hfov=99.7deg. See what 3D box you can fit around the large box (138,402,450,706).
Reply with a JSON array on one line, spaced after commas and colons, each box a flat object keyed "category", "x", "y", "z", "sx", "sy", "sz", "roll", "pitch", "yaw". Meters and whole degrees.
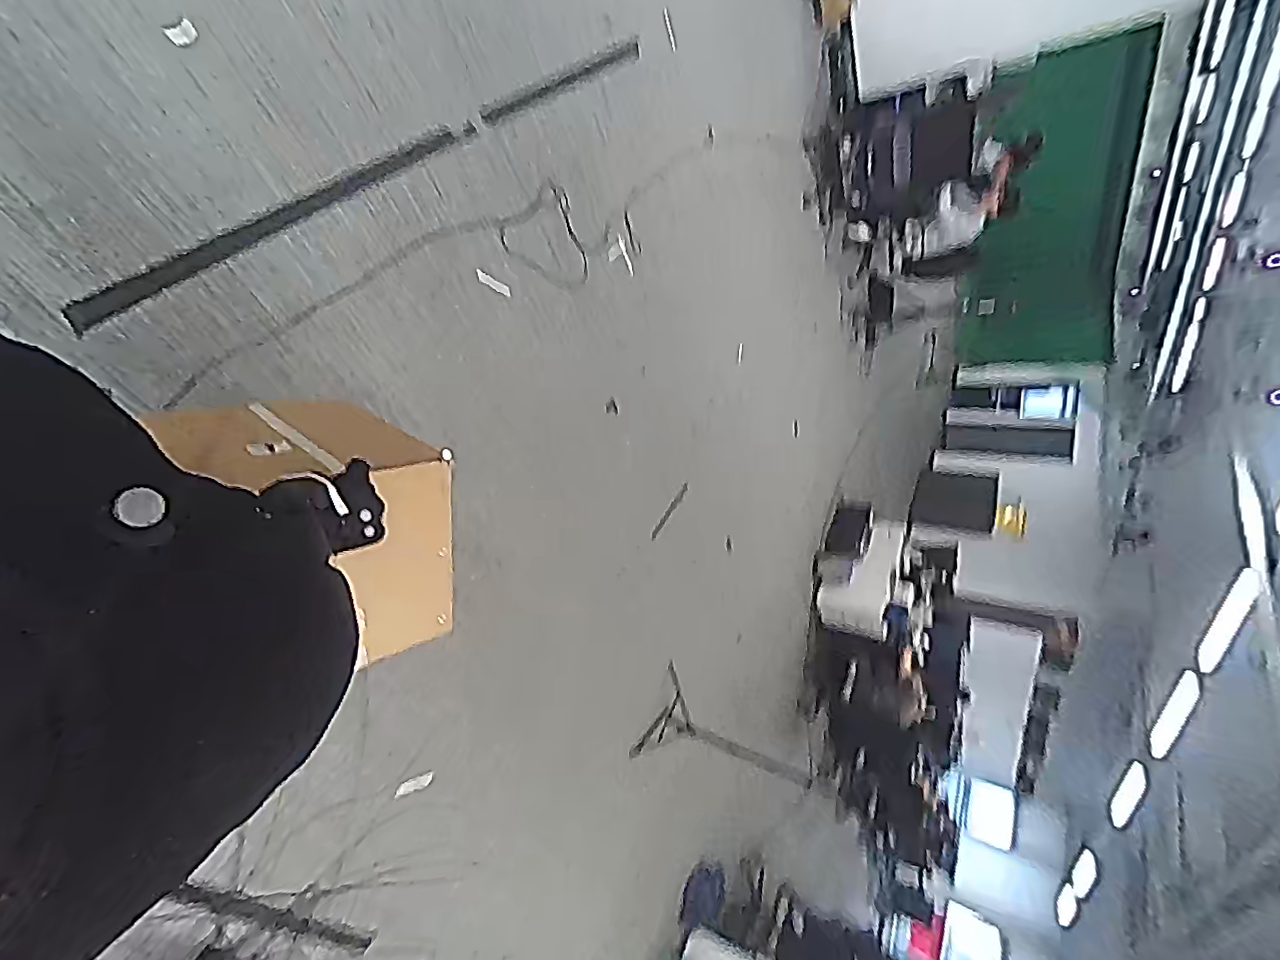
[{"category": "large box", "x": -0.559, "y": 0.078, "z": 0.889, "sx": 0.320, "sy": 0.408, "sz": 0.320, "roll": -16, "pitch": 121, "yaw": -46}]
